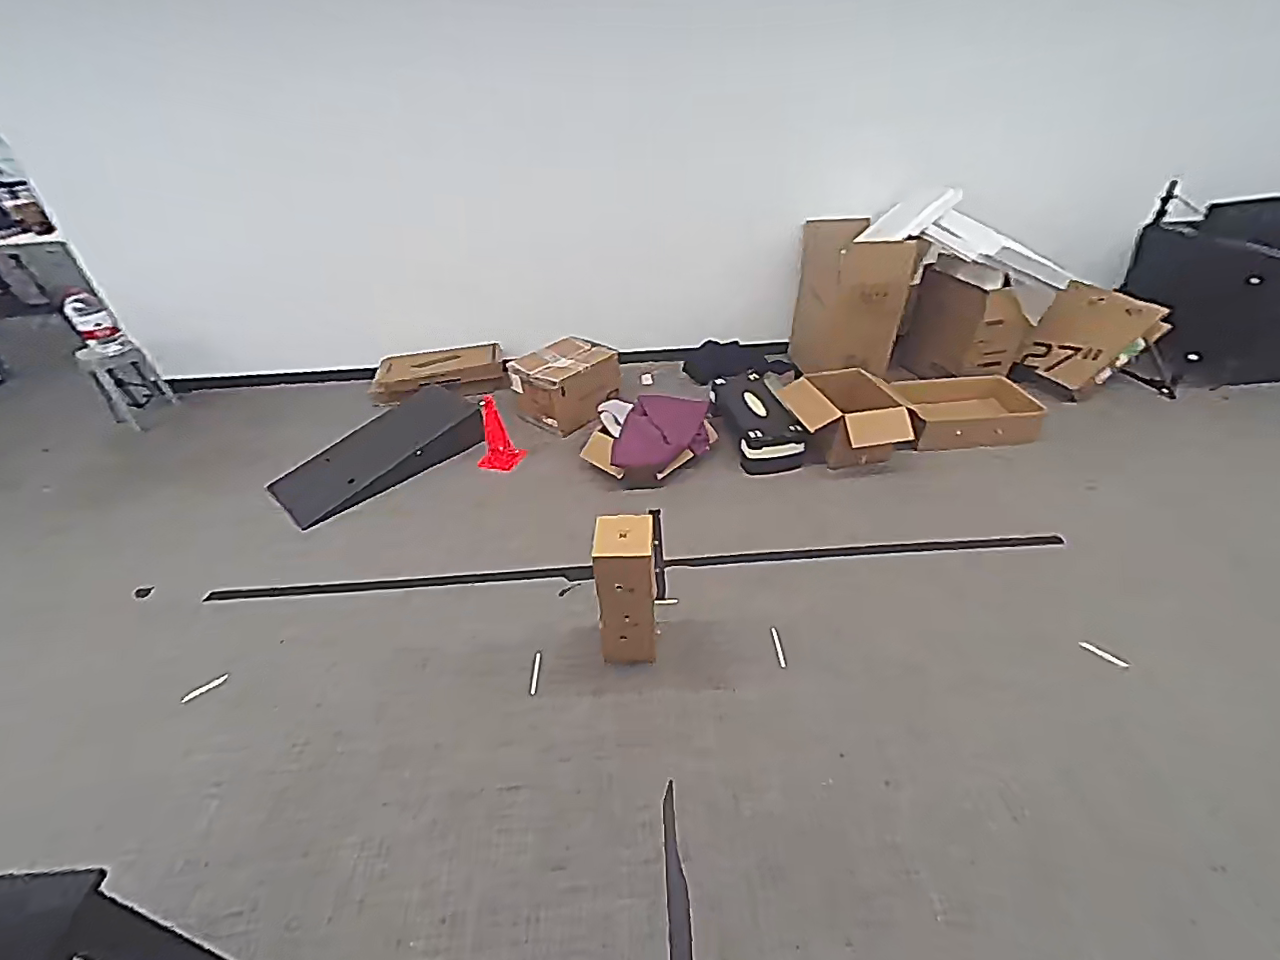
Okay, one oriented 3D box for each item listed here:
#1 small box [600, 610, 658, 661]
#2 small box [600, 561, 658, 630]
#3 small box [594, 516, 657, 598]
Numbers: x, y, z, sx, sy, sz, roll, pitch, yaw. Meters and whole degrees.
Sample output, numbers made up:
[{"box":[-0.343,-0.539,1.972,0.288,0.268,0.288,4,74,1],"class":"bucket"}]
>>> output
[{"box":[-0.031,0.483,1.788,0.179,0.176,0.168,-1,37,3],"class":"small box"},{"box":[-0.031,0.348,1.694,0.168,0.176,0.179,-1,37,3],"class":"small box"},{"box":[-0.037,0.225,1.586,0.168,0.176,0.179,-2,38,3],"class":"small box"}]
